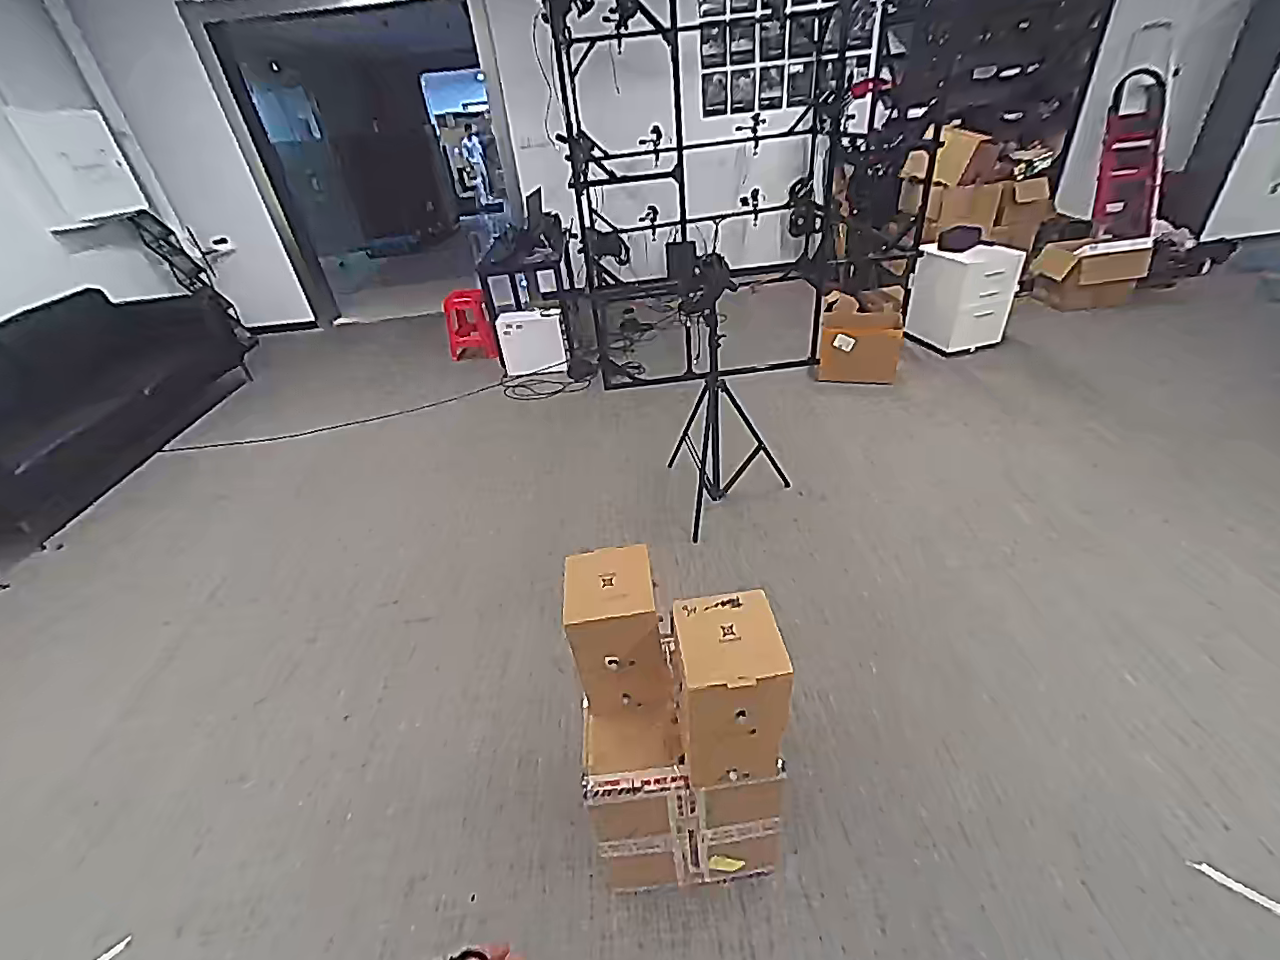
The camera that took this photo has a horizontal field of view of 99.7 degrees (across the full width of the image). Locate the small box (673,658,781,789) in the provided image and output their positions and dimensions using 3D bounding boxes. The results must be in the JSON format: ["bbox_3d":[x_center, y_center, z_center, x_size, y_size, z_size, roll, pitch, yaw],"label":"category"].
[{"bbox_3d":[0.157,0.450,1.026,0.168,0.176,0.179,-8,37,-2],"label":"small box"}]

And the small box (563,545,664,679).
[{"bbox_3d":[-0.050,0.255,1.050,0.168,0.176,0.179,-9,37,0],"label":"small box"}]

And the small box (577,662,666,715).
[{"bbox_3d":[-0.039,0.374,1.163,0.168,0.176,0.179,-8,37,0],"label":"small box"}]

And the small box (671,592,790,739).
[{"bbox_3d":[0.149,0.321,0.925,0.168,0.176,0.179,-7,37,-1],"label":"small box"}]
